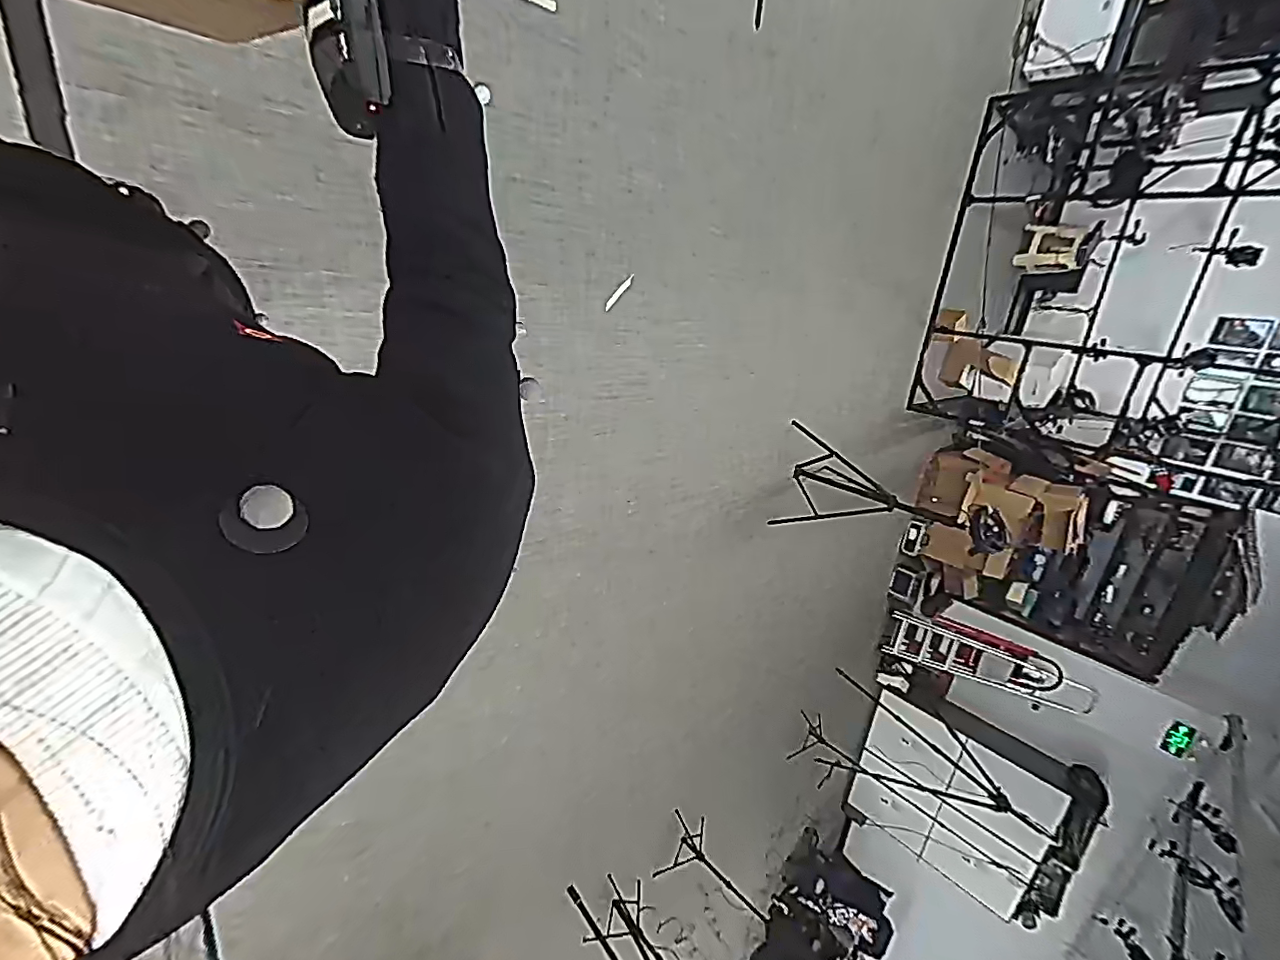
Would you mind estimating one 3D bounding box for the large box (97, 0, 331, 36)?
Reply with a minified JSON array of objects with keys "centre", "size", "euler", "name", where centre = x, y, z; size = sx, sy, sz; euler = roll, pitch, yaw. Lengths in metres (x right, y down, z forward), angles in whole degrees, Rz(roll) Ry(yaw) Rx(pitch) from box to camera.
[{"centre":[-0.413,-0.460,0.239],"size":[0.408,0.320,0.320],"euler":[-14,127,-42],"name":"large box"}]
